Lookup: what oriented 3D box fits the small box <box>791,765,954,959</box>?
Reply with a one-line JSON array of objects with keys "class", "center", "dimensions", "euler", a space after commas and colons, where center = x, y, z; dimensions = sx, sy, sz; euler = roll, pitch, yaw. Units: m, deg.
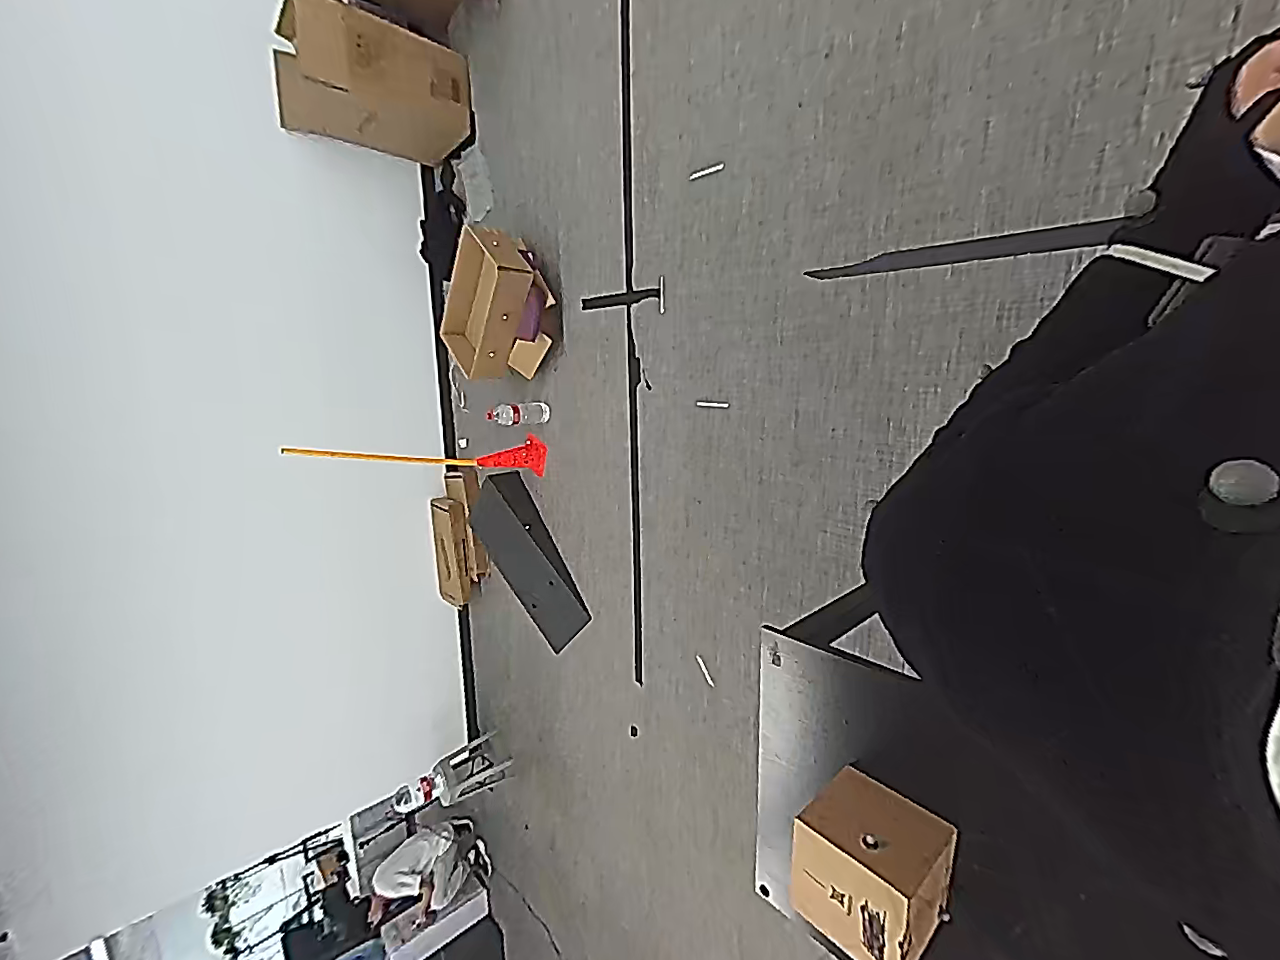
[{"class": "small box", "center": [0.359, 0.584, 0.836], "dimensions": [0.179, 0.176, 0.168], "euler": [15, 109, 47]}]
